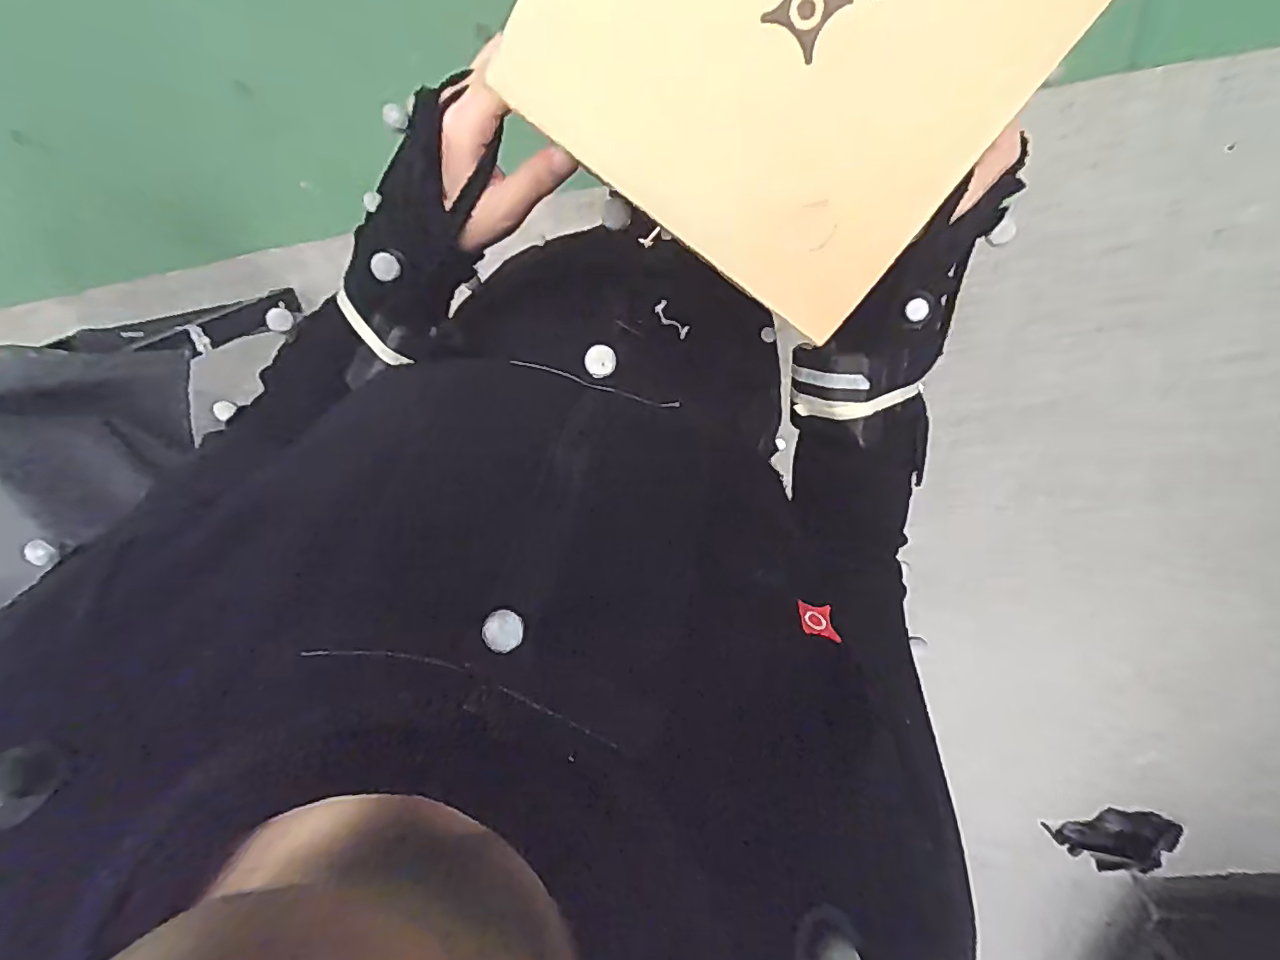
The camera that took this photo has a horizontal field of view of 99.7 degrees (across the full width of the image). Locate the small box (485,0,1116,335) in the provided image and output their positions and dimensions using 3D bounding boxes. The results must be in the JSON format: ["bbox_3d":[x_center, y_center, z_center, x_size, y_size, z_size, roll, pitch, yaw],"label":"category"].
[{"bbox_3d":[0.061,-0.197,0.246,0.168,0.176,0.179,32,111,-14],"label":"small box"}]
